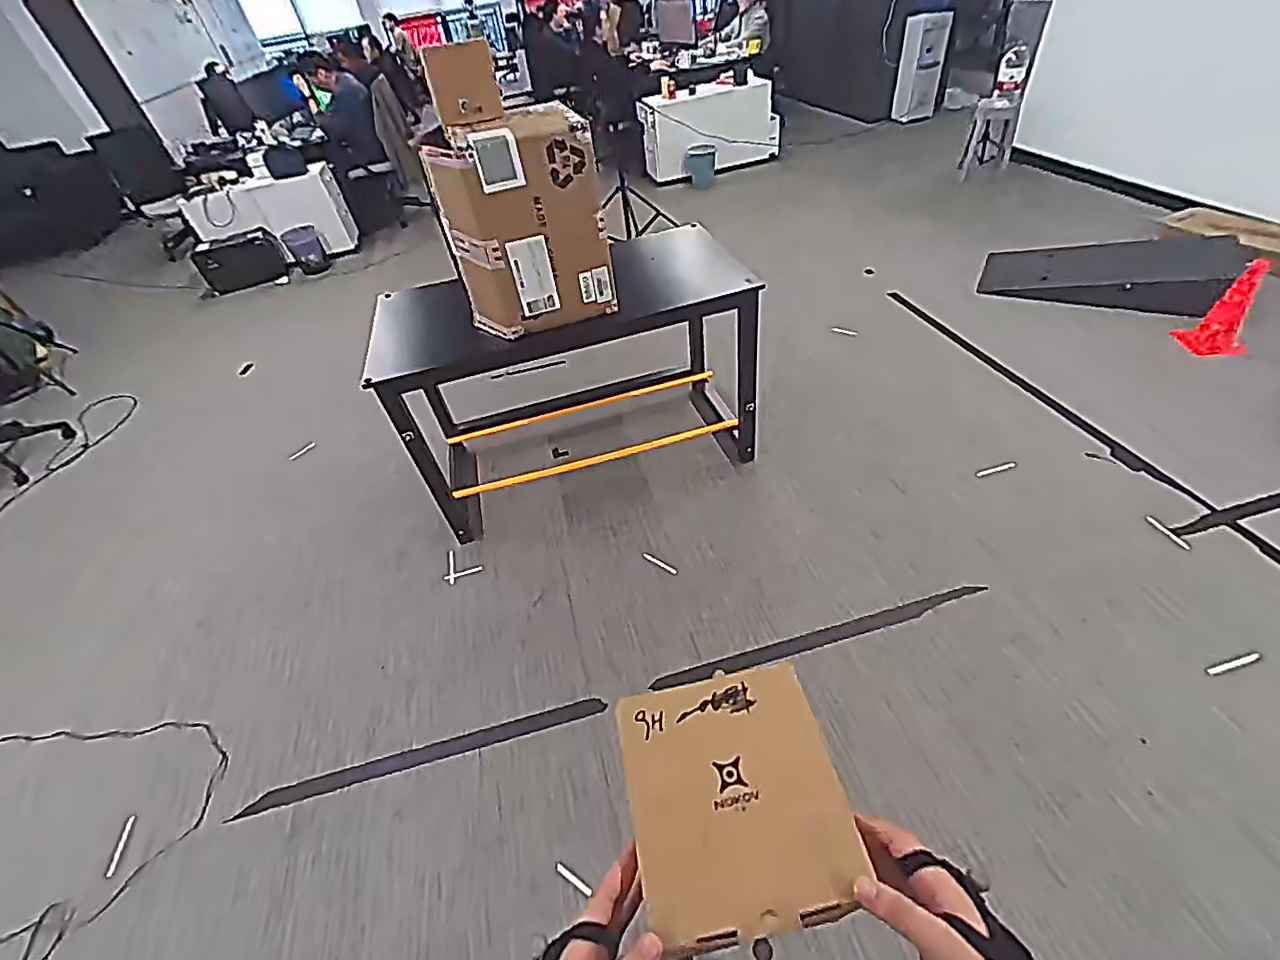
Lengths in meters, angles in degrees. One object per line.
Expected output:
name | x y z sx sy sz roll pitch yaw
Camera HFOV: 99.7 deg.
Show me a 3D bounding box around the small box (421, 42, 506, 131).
small box | -0.465 -1.041 1.431 0.168 0.176 0.179 -19 42 -11
